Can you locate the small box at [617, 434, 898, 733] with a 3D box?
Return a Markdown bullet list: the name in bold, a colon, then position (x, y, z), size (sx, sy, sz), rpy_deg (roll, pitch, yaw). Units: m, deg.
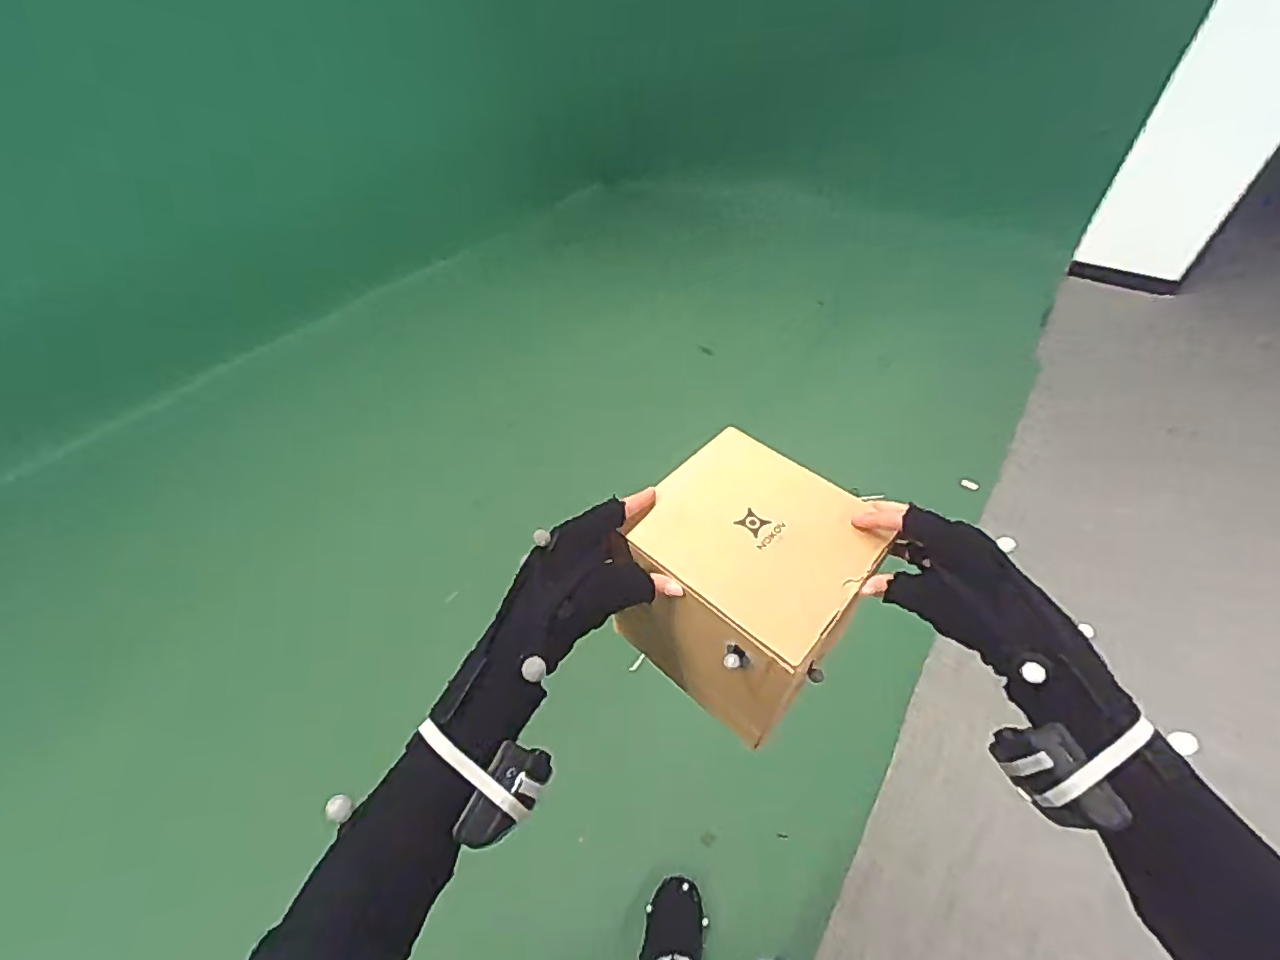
- **small box**: position (0.093, 0.094, 0.500), size (0.179, 0.176, 0.168), rpy_deg (35, 55, 26)
